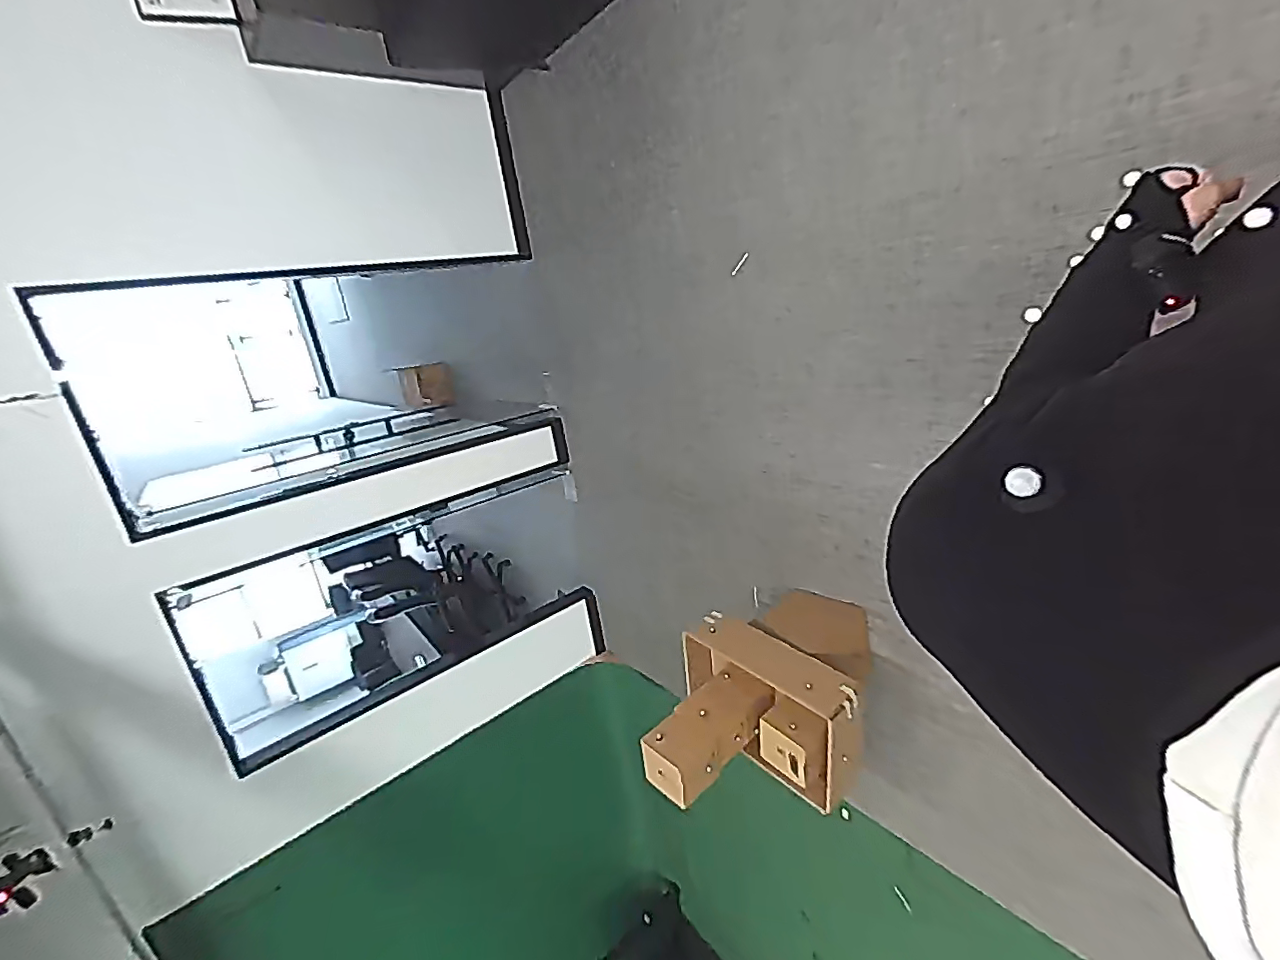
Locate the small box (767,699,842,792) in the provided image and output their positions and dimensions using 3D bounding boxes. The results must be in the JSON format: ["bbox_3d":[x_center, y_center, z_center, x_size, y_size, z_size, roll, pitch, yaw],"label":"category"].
[{"bbox_3d":[0.531,0.846,1.745,0.179,0.176,0.168,20,122,49],"label":"small box"}]

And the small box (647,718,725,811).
[{"bbox_3d":[0.148,0.892,1.720,0.179,0.176,0.168,13,118,47],"label":"small box"}]

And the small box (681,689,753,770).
[{"bbox_3d":[0.262,0.841,1.828,0.179,0.176,0.168,16,119,46],"label":"small box"}]
